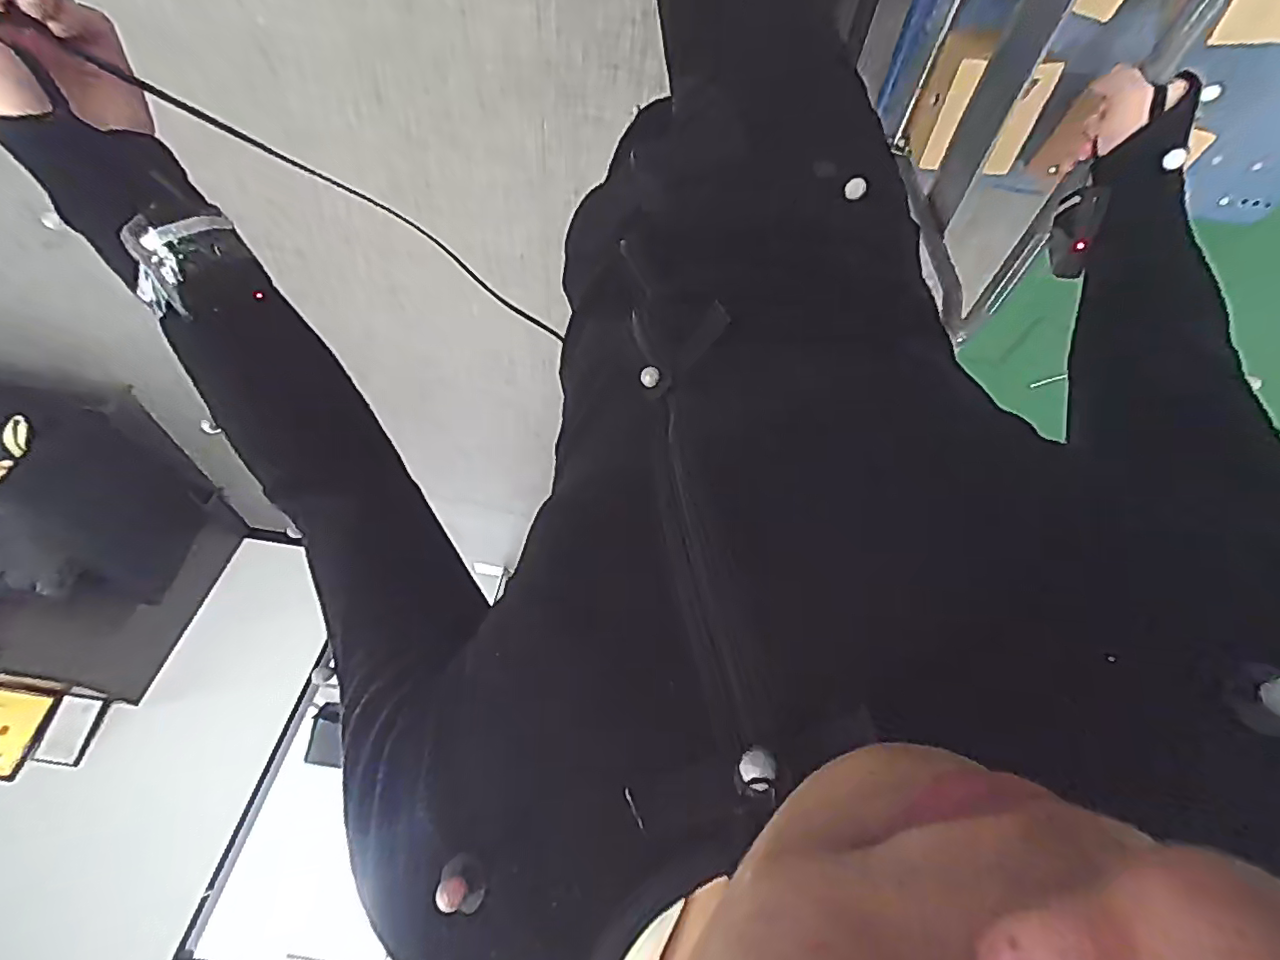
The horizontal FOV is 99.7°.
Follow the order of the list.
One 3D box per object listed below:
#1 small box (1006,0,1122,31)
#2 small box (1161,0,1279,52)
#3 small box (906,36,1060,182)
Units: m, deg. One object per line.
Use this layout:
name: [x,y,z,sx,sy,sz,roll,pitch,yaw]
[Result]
small box: [0.658,-0.824,0.812,0.179,0.176,0.168,14,144,-4]
small box: [0.958,-0.769,0.812,0.179,0.176,0.168,4,144,8]
small box: [0.614,-0.687,1.000,0.168,0.176,0.179,8,144,4]
